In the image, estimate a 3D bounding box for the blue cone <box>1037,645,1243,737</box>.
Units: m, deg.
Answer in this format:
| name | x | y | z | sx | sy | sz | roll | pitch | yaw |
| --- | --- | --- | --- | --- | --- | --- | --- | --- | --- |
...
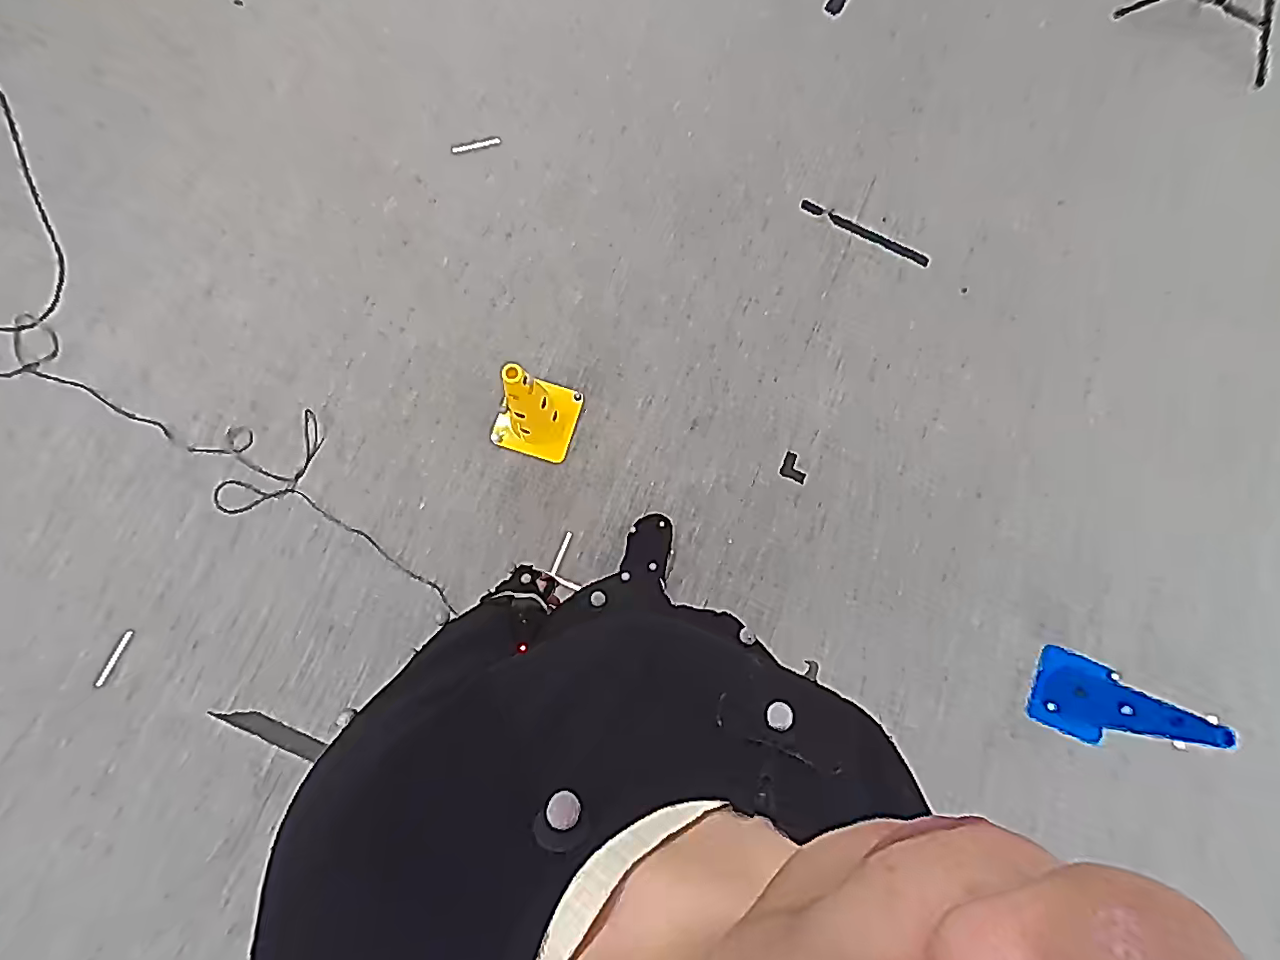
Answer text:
| name | x | y | z | sx | sy | sz | roll | pitch | yaw |
| --- | --- | --- | --- | --- | --- | --- | --- | --- | --- |
| blue cone | 1.115 | 0.507 | 1.207 | 0.193 | 0.380 | 0.192 | 25 | 80 | 1 |
